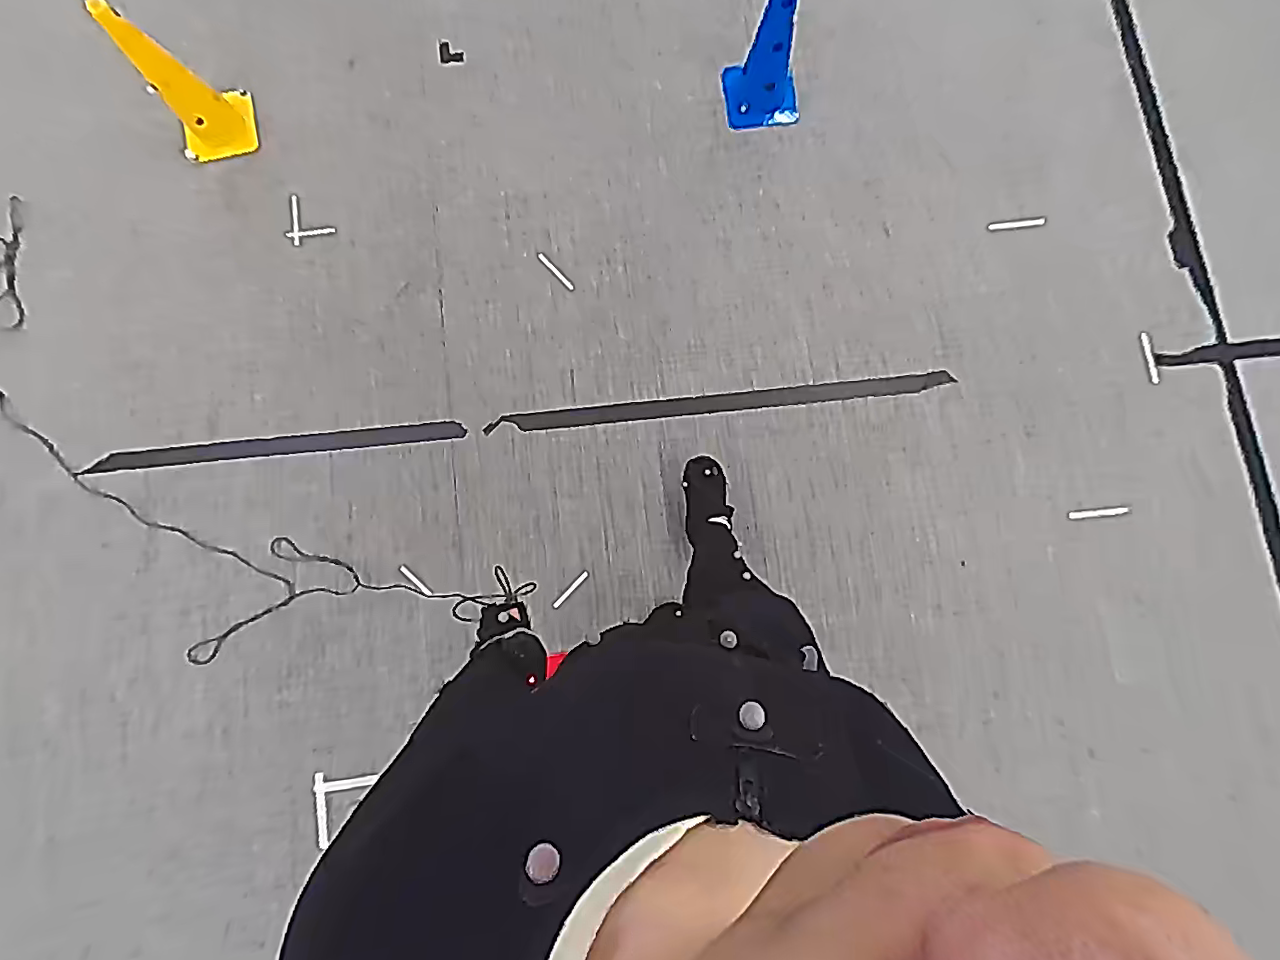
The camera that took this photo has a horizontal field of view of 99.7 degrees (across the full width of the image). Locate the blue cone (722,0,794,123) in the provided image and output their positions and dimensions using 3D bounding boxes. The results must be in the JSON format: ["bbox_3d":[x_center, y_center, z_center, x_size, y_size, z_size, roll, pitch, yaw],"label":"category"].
[{"bbox_3d":[0.332,-1.118,1.360,0.193,0.380,0.192,-5,81,0],"label":"blue cone"}]
